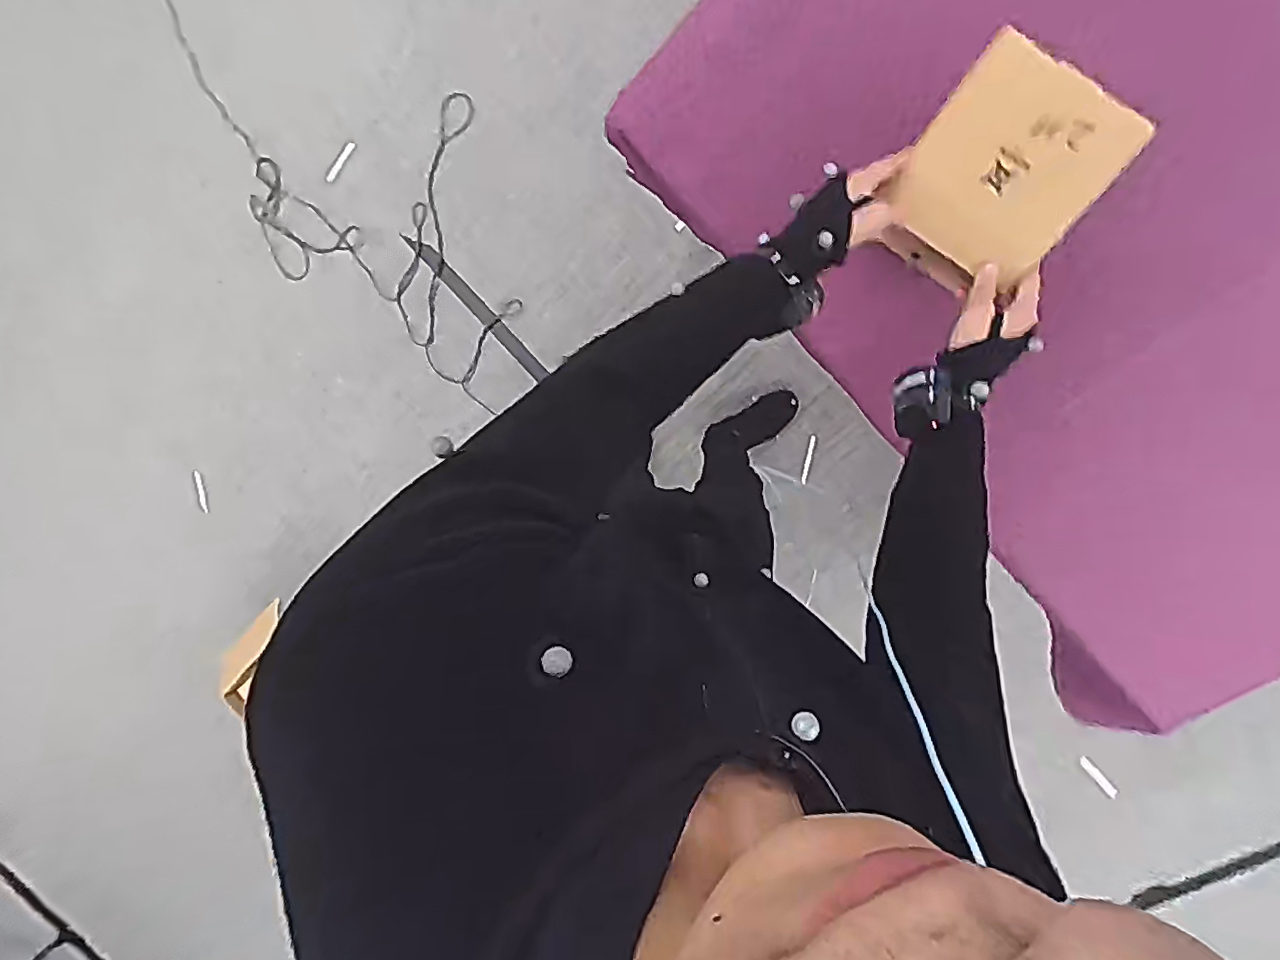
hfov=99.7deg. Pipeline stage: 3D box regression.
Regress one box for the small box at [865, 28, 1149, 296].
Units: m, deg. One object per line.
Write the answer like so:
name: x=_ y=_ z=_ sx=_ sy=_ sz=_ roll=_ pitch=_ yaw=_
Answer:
small box: x=0.371 y=-0.324 z=0.594 sx=0.168 sy=0.176 sz=0.179 roll=36 pitch=114 yaw=1
